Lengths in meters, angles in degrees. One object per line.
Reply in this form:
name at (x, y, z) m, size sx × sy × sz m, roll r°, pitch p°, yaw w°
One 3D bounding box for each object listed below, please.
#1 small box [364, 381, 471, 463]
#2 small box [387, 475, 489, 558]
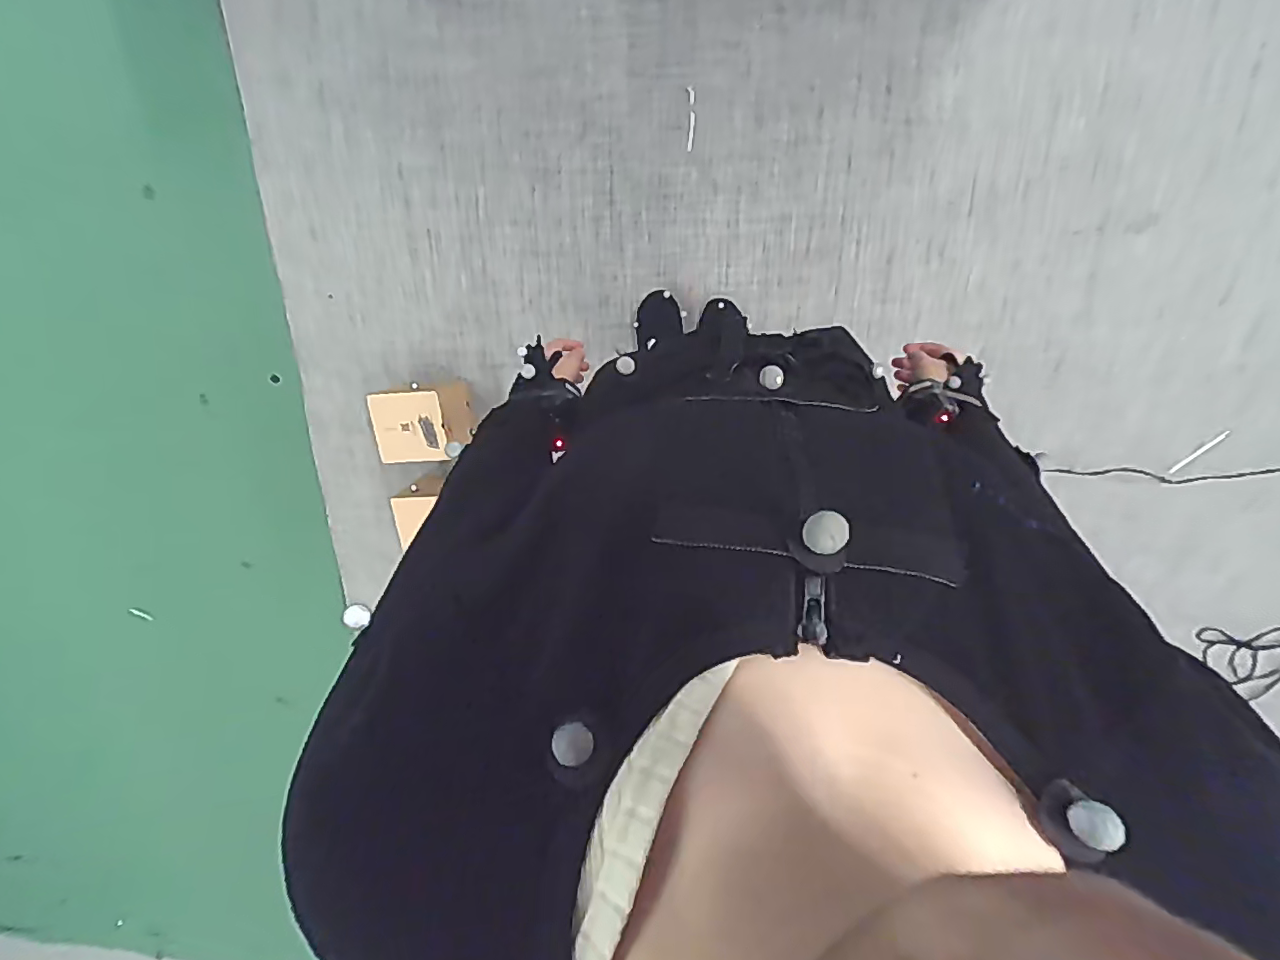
small box at (-0.528, -0.145, 1.316) m, size 0.179 × 0.176 × 0.168 m, roll -2°, pitch 108°, yaw 7°
small box at (-0.513, 0.090, 1.395) m, size 0.179 × 0.176 × 0.168 m, roll -3°, pitch 109°, yaw 6°
